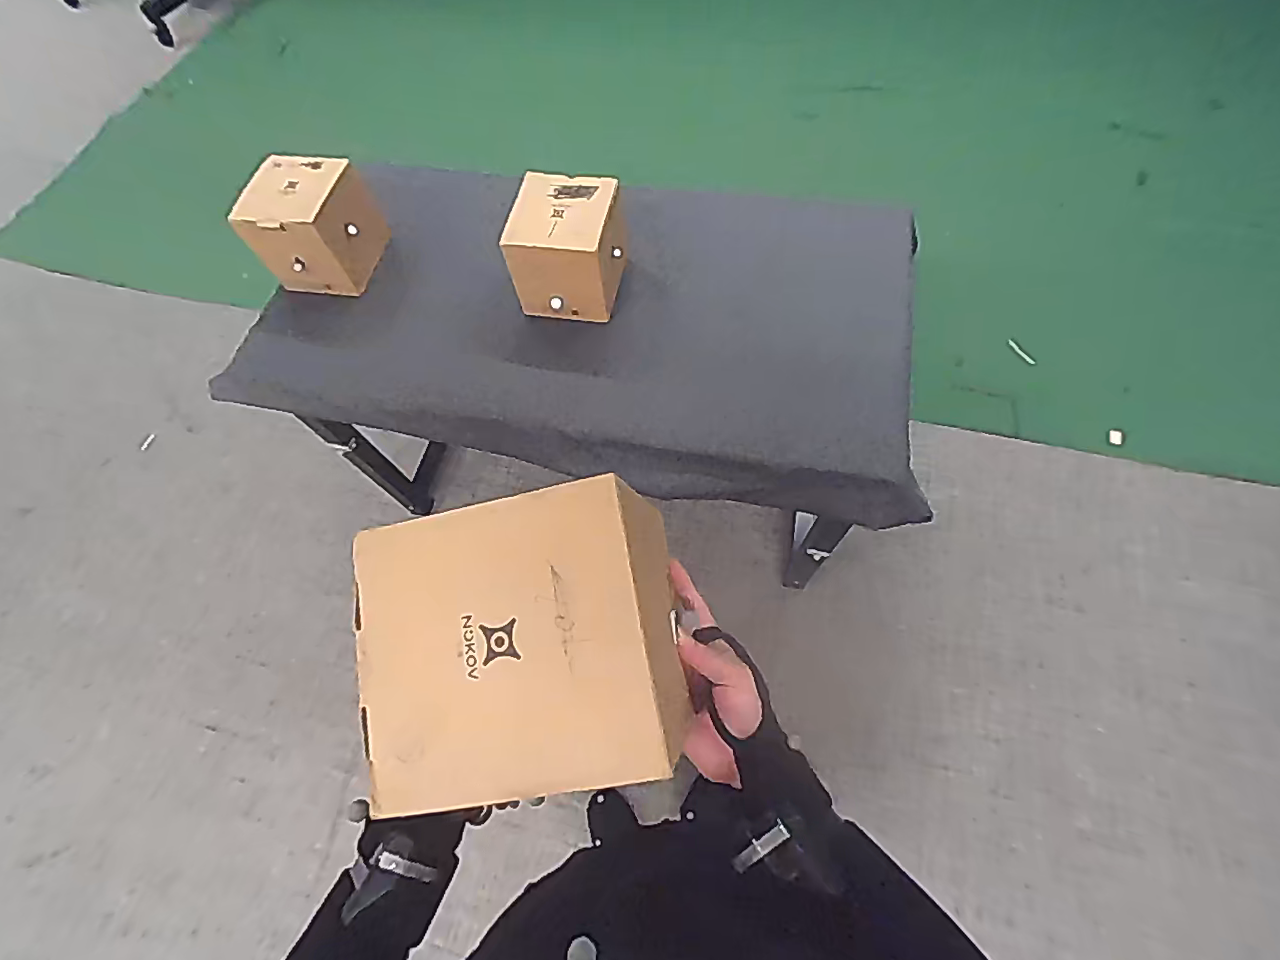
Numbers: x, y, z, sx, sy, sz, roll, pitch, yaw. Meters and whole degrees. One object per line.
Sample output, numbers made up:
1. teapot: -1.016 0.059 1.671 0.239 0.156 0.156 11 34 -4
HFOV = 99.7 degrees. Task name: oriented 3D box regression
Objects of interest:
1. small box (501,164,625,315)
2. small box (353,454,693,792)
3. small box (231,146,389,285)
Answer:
1. small box: -0.124 -0.425 0.965 0.168 0.176 0.179 9 67 8
2. small box: -0.067 0.095 0.386 0.179 0.176 0.168 -13 78 7
3. small box: -0.614 -0.500 1.035 0.168 0.176 0.179 7 66 7
